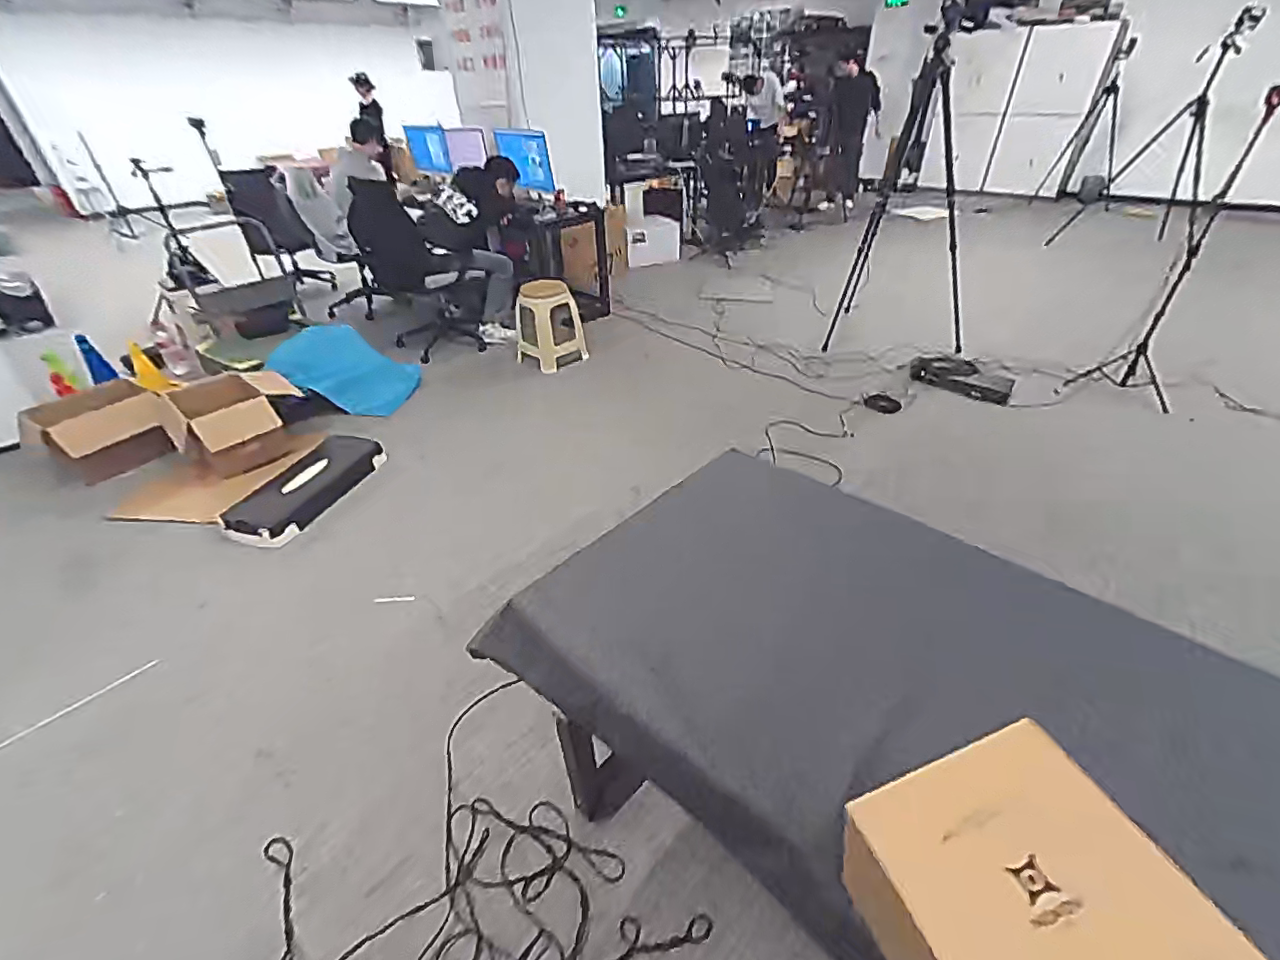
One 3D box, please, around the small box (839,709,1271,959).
[{"bbox_3d":[0.272,0.319,0.403,0.168,0.176,0.179,-21,36,-9],"label":"small box"}]
